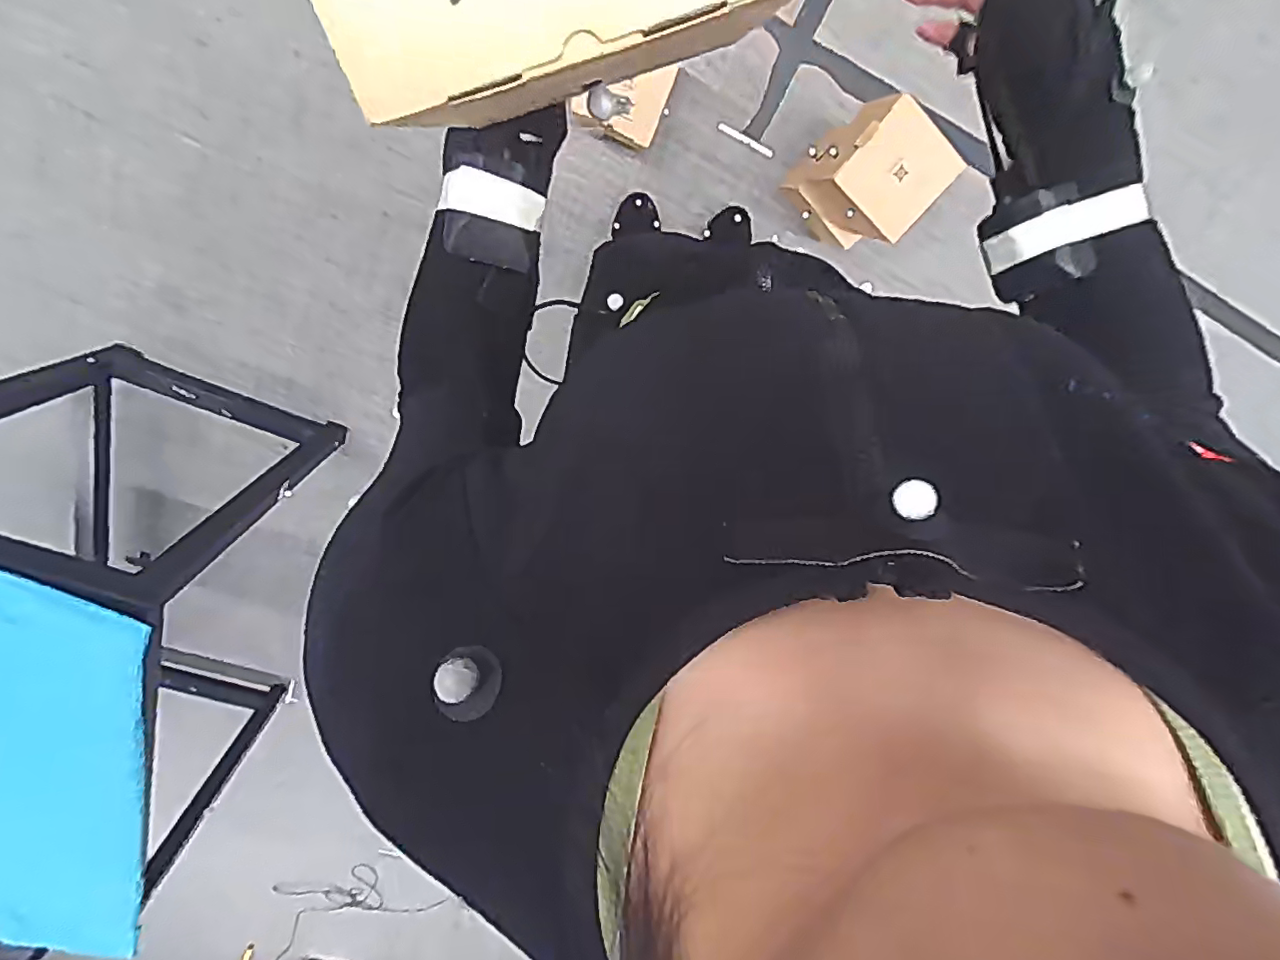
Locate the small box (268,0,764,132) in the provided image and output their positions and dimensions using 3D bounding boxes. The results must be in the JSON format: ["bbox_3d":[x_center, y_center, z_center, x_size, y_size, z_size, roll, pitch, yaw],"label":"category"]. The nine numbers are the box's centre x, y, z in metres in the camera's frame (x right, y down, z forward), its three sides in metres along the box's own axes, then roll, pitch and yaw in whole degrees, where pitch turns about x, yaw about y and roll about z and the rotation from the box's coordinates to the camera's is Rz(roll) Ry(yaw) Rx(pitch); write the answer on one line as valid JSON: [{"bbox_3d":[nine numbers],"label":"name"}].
[{"bbox_3d":[-0.053,-0.257,0.210,0.168,0.176,0.179,-9,126,7],"label":"small box"}]

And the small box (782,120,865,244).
[{"bbox_3d":[0.438,-0.644,1.175,0.179,0.176,0.168,37,111,-21],"label":"small box"}]

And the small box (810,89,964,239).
[{"bbox_3d":[0.451,-0.586,1.019,0.179,0.176,0.168,35,113,-20],"label":"small box"}]

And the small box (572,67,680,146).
[{"bbox_3d":[-0.022,-0.794,1.078,0.168,0.176,0.179,21,116,-12],"label":"small box"}]
